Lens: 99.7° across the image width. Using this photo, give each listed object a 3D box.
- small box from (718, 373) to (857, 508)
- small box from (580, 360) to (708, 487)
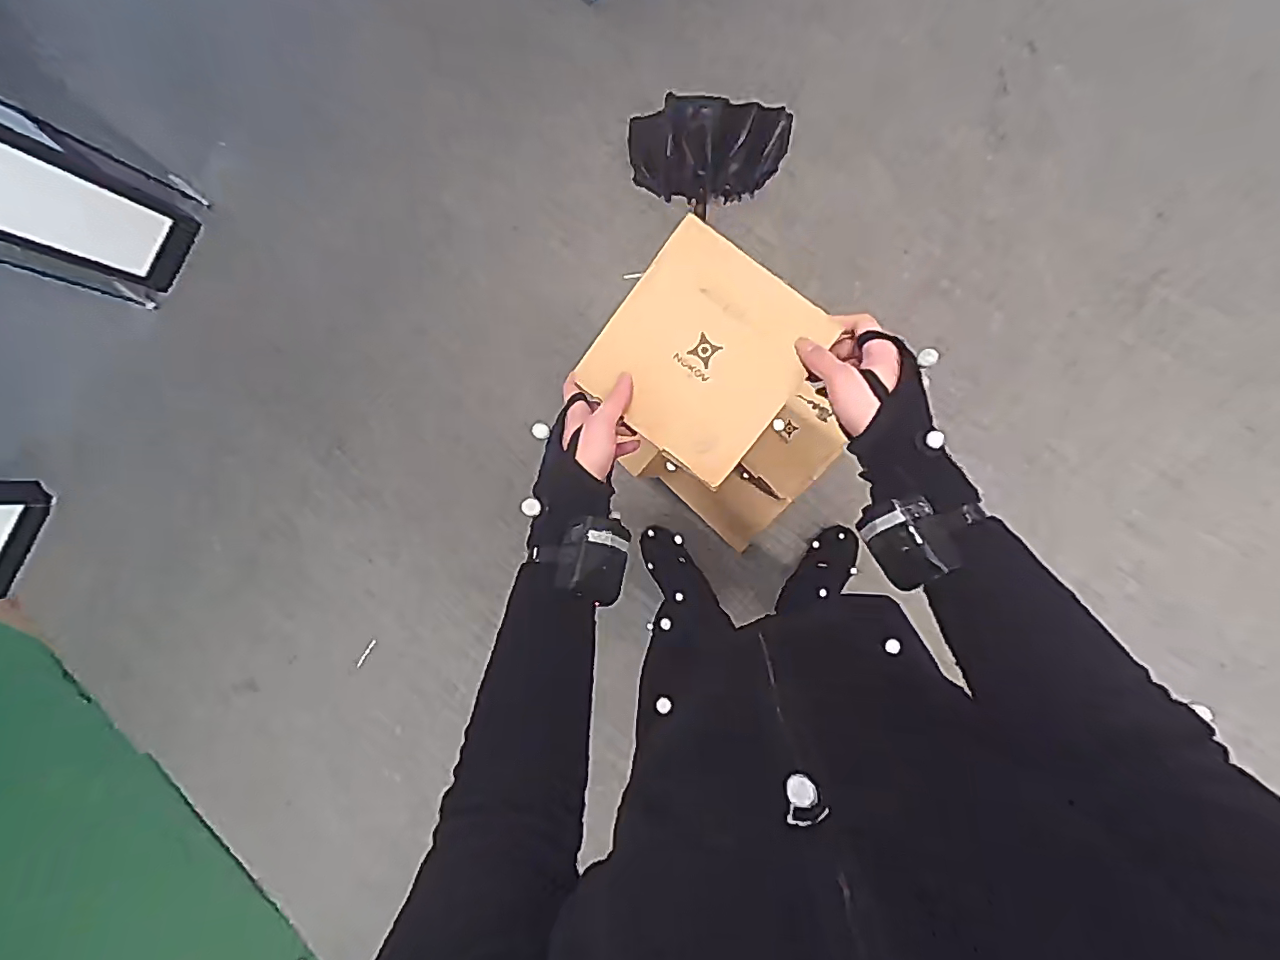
[{"bbox_3d":[0.270,-0.061,0.998,0.179,0.176,0.168,-46,77,7],"label":"small box"},{"bbox_3d":[0.019,-0.104,1.066,0.179,0.176,0.168,-46,77,11],"label":"small box"}]
